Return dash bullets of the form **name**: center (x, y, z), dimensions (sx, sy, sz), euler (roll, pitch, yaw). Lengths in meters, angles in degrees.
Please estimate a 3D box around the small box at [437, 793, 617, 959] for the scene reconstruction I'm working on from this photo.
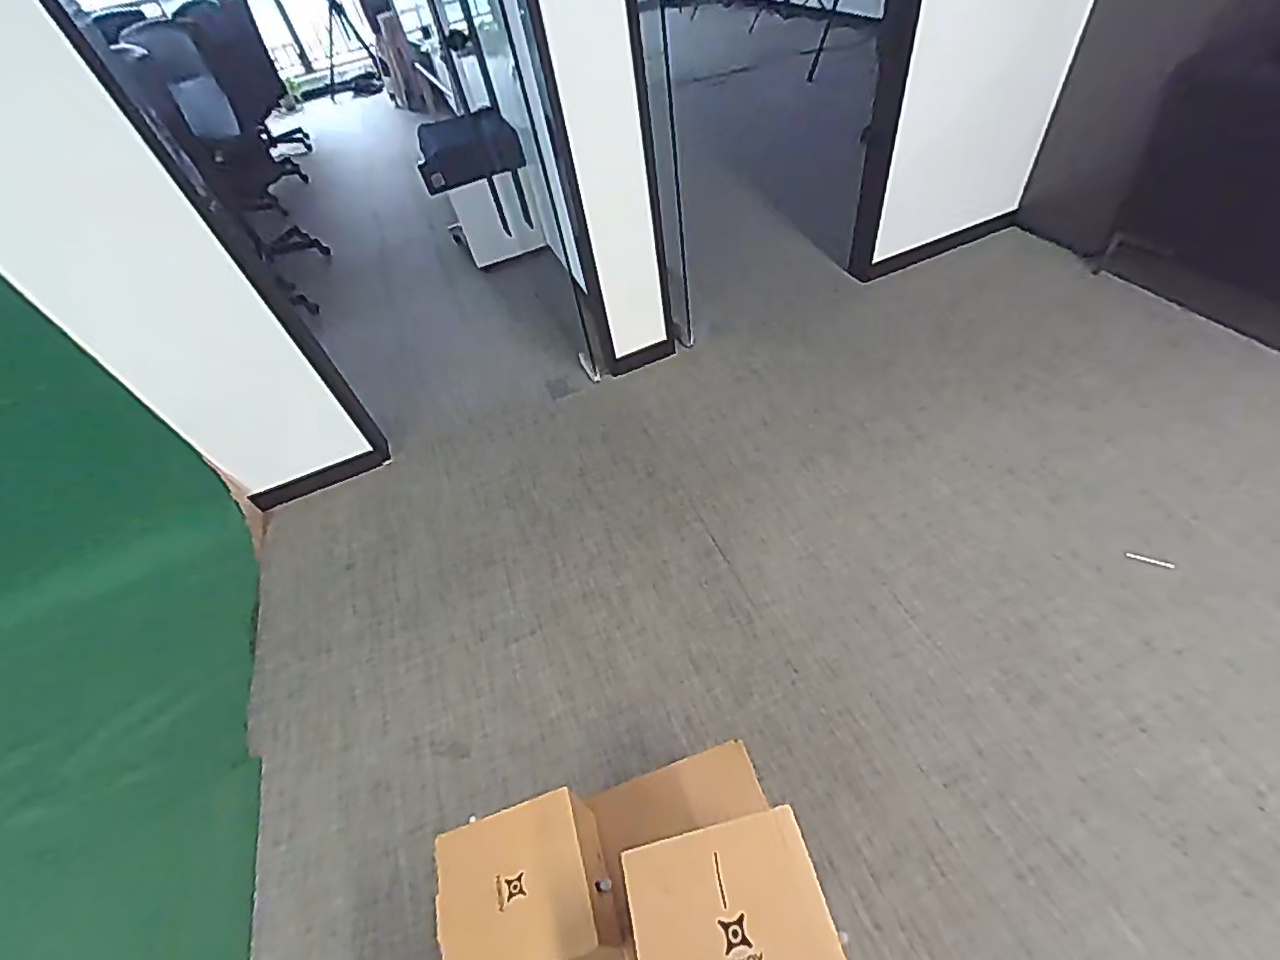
- **small box**: center (-0.135, 0.529, 0.684), dimensions (0.179, 0.176, 0.168), euler (-19, 48, -6)

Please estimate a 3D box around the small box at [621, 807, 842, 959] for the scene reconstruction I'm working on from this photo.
- **small box**: center (0.090, 0.437, 0.500), dimensions (0.168, 0.176, 0.179), euler (-15, 46, -3)
